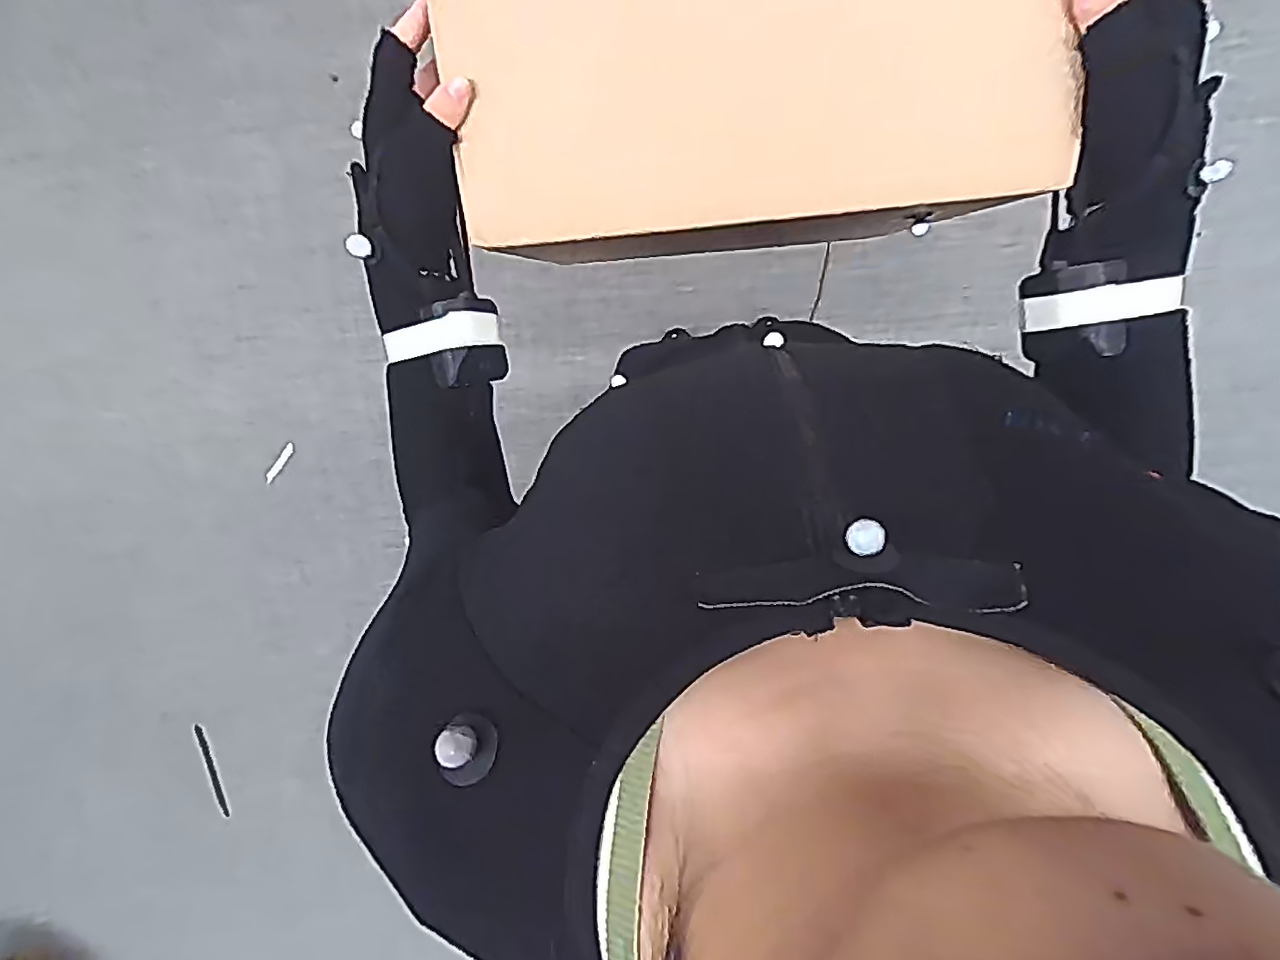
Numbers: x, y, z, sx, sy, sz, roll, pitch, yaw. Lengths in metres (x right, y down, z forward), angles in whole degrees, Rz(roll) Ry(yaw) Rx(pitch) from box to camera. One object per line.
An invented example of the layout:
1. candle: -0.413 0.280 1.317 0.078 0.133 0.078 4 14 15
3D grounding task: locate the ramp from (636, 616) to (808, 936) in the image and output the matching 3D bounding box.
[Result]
1. ramp: 0.249 0.904 1.644 0.509 0.206 0.991 -3 104 7

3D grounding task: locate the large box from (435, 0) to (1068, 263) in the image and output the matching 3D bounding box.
1. large box: 0.072 -0.376 0.471 0.408 0.320 0.320 -4 109 4
